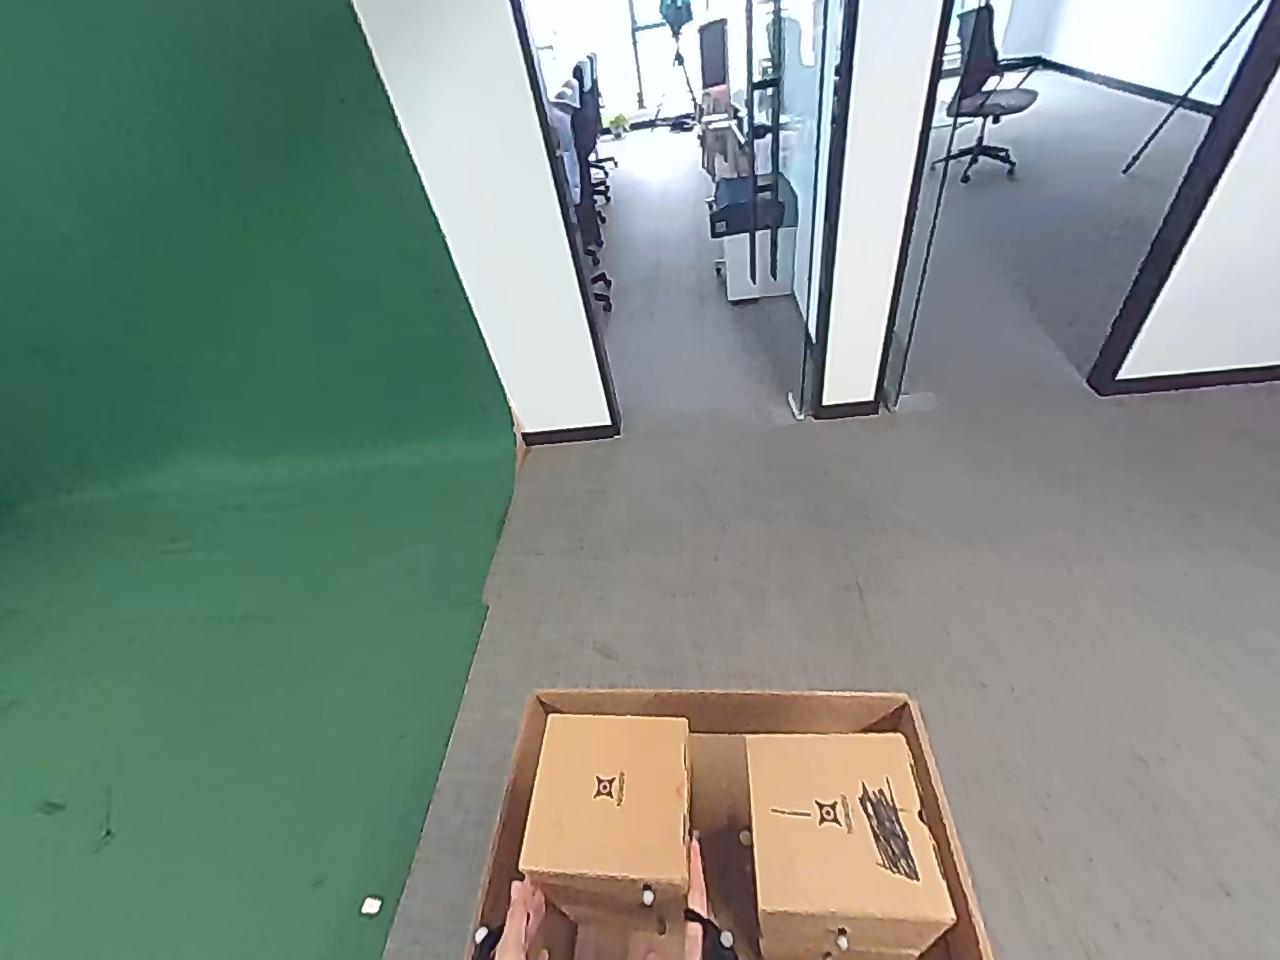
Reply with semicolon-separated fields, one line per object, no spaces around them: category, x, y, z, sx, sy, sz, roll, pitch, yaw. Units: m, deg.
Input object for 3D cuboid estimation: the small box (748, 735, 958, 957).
small box;0.214;0.401;0.595;0.179;0.176;0.168;-5;41;10
